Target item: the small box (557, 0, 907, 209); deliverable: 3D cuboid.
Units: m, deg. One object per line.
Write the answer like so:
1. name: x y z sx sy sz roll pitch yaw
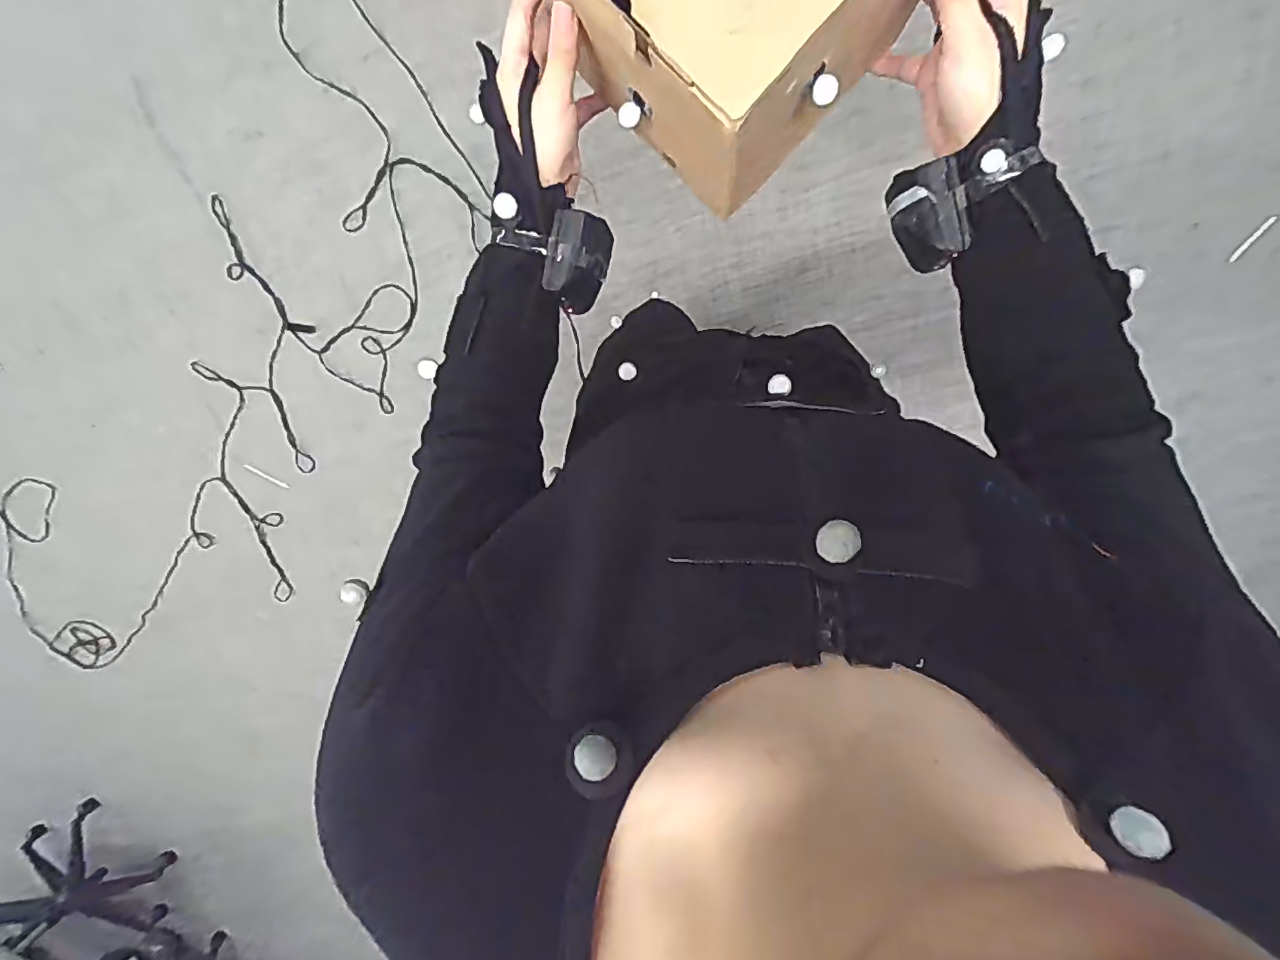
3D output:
1. small box: 0.061 -0.309 0.336 0.168 0.176 0.179 45 104 -1
